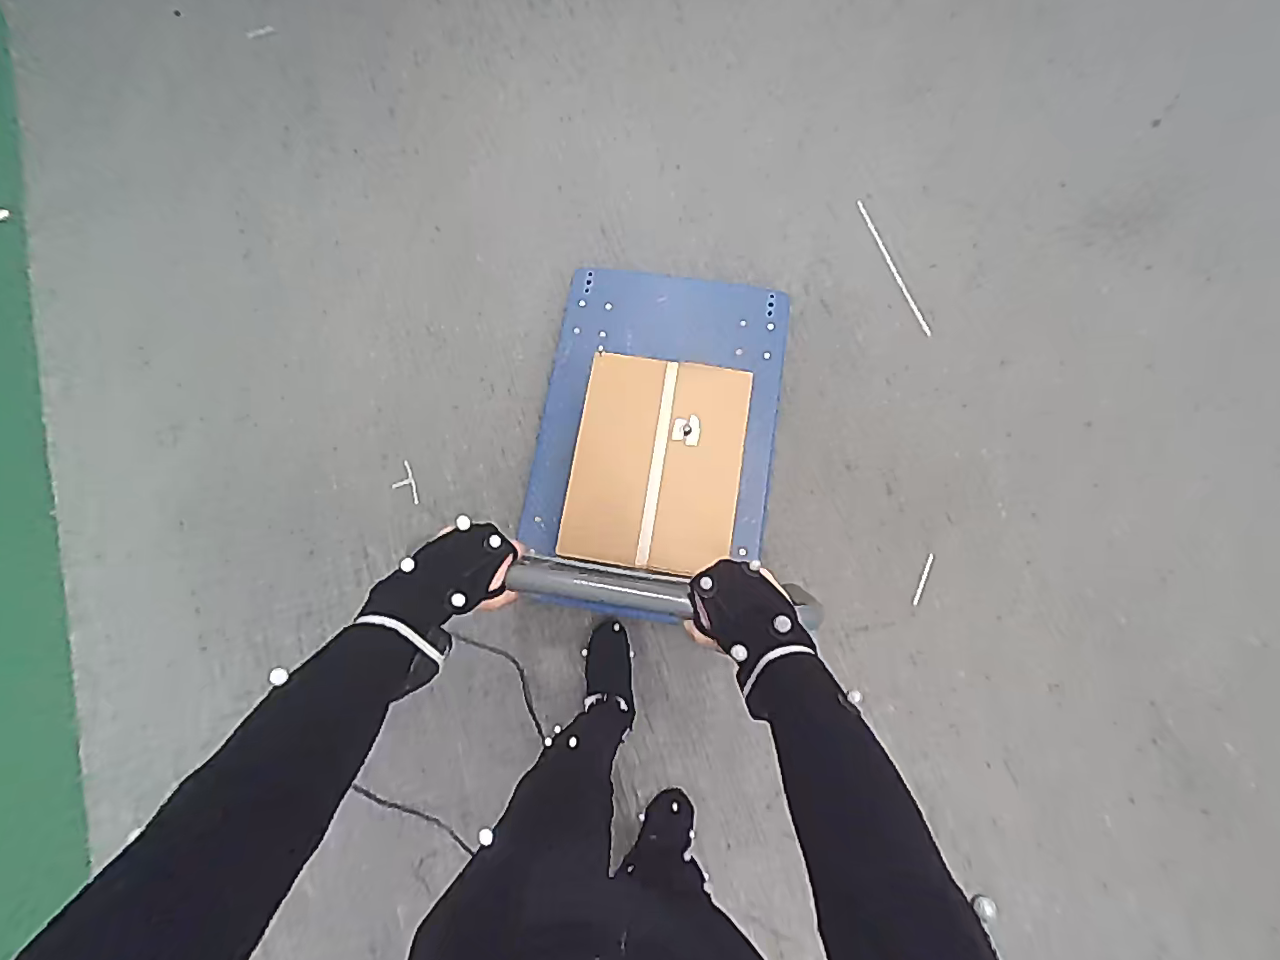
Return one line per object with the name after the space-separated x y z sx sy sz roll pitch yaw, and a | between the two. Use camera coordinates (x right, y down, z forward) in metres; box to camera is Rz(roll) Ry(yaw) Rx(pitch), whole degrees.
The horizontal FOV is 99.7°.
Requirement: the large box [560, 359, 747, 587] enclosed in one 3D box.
0.036 0.006 1.161 0.320 0.320 0.408 9 77 3 | large box
